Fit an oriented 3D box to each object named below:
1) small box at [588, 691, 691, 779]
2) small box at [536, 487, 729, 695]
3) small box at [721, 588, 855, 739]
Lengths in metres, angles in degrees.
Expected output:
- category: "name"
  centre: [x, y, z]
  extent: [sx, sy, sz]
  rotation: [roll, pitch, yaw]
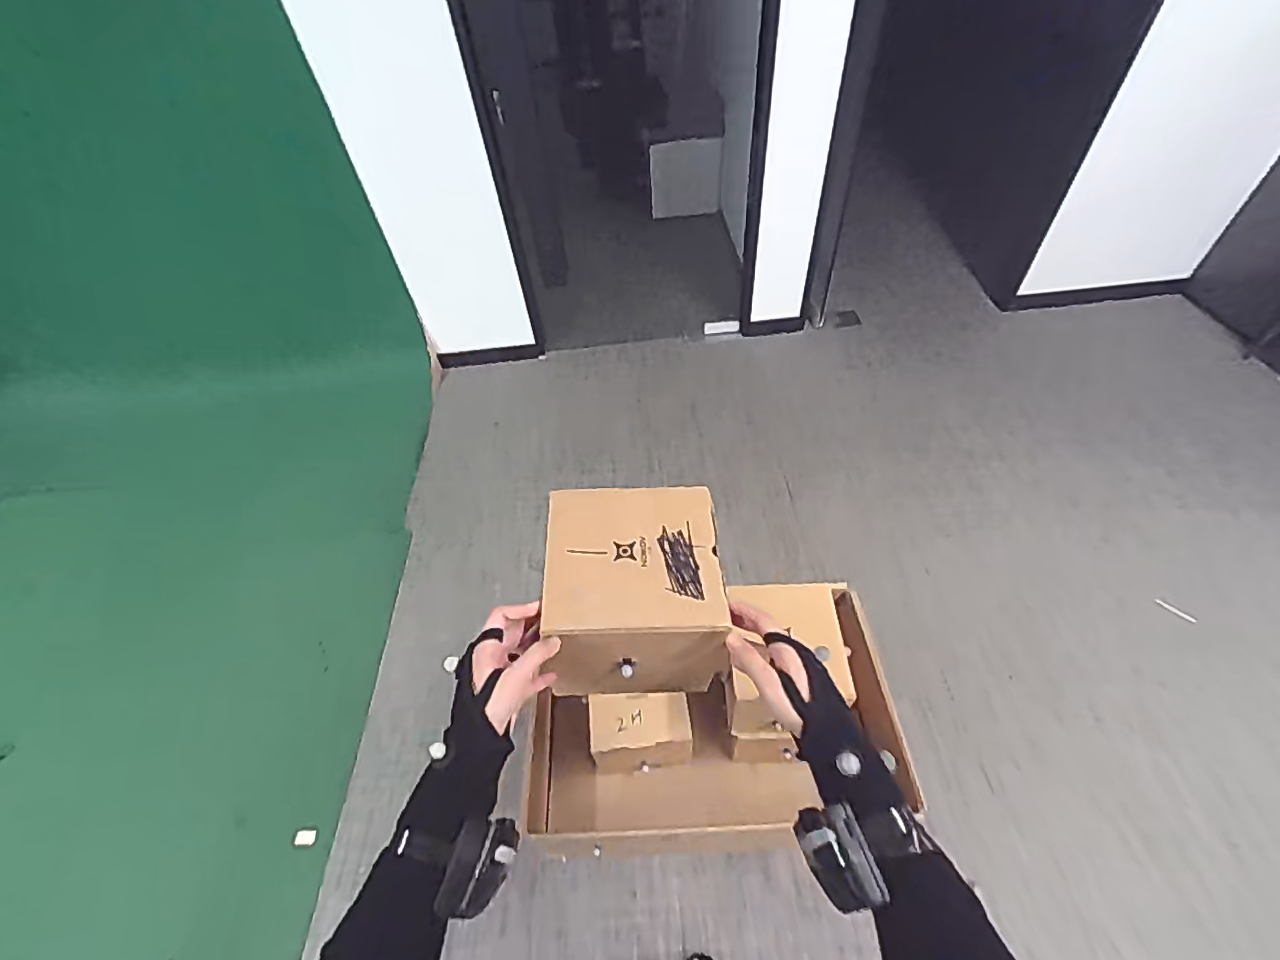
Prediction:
- category: "small box"
  centre: [-0.004, 0.415, 0.971]
  extent: [0.168, 0.176, 0.179]
  rotation: [-7, 49, -1]
- category: "small box"
  centre: [-0.011, 0.124, 0.593]
  extent: [0.179, 0.176, 0.168]
  rotation: [0, 49, -2]
- category: "small box"
  centre: [0.217, 0.289, 0.849]
  extent: [0.168, 0.176, 0.179]
  rotation: [-3, 49, 4]
